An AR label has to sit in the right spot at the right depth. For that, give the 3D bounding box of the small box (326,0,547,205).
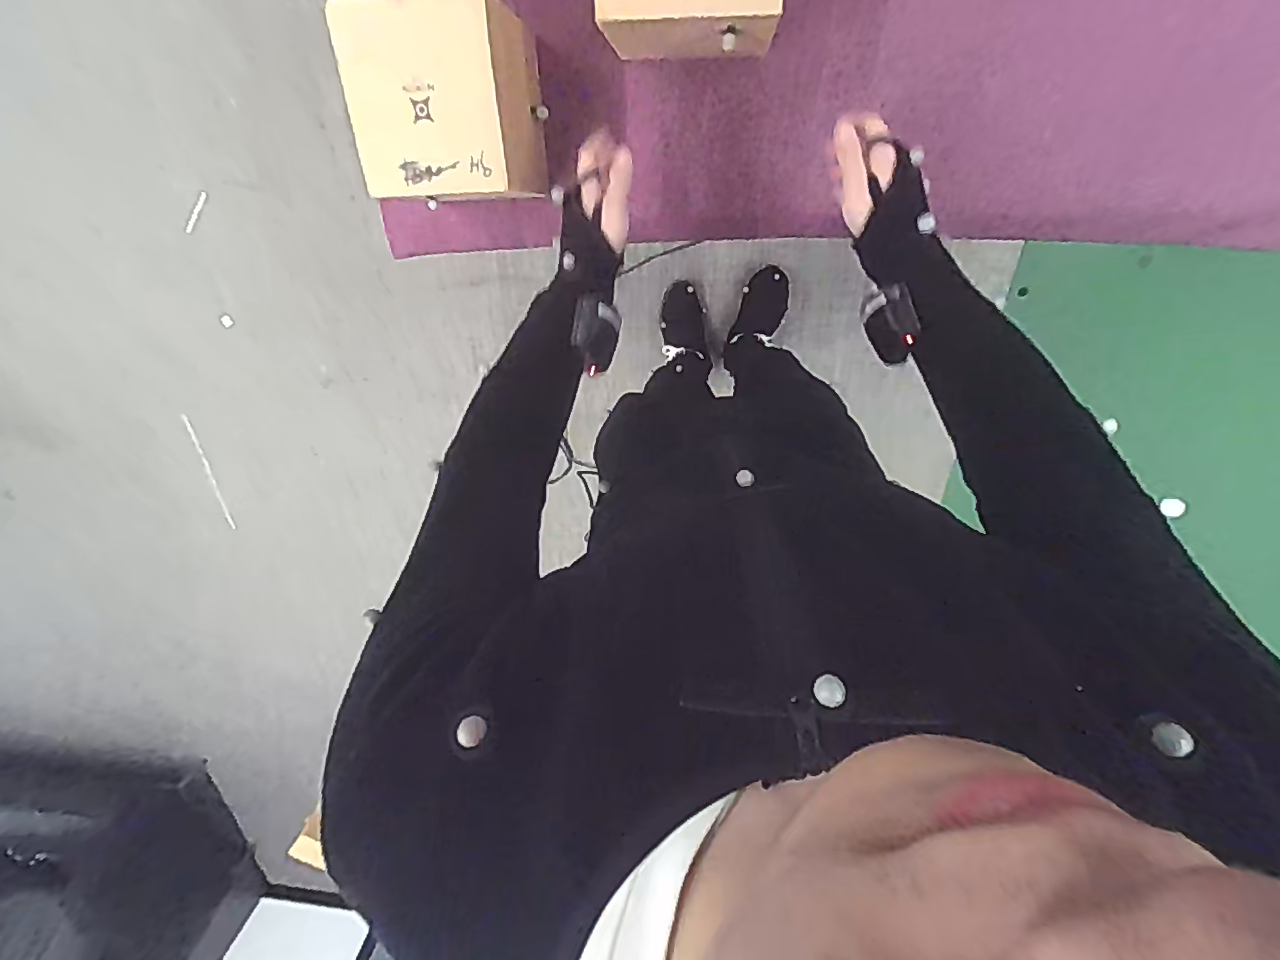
[{"bbox_3d":[-0.215,-0.420,0.624,0.168,0.176,0.179,2,116,8],"label":"small box"}]

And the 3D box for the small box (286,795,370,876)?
[{"bbox_3d":[-1.120,1.275,1.950,0.179,0.176,0.168,34,116,-12],"label":"small box"}]
